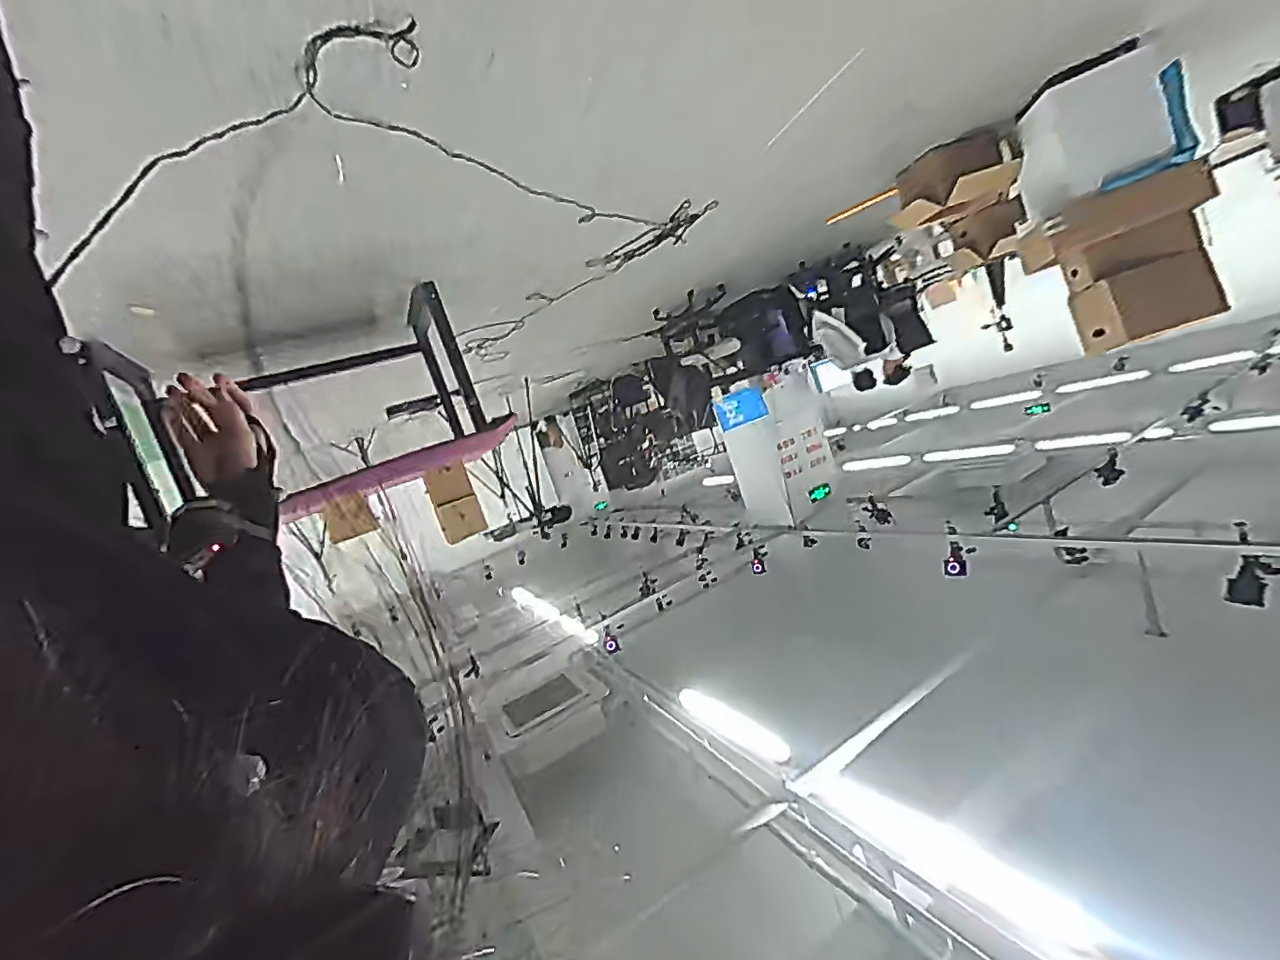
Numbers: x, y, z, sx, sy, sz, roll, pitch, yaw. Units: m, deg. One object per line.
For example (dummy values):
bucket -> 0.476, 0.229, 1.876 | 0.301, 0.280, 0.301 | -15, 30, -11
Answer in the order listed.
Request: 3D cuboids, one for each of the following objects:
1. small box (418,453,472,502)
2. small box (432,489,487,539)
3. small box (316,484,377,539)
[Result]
small box -> -0.839, -0.011, 2.317 | 0.168, 0.176, 0.179 | -22, -174, -25
small box -> -0.781, 0.142, 2.324 | 0.168, 0.176, 0.179 | -22, -174, -26
small box -> -1.162, 0.120, 2.144 | 0.168, 0.176, 0.179 | -22, -172, -24
